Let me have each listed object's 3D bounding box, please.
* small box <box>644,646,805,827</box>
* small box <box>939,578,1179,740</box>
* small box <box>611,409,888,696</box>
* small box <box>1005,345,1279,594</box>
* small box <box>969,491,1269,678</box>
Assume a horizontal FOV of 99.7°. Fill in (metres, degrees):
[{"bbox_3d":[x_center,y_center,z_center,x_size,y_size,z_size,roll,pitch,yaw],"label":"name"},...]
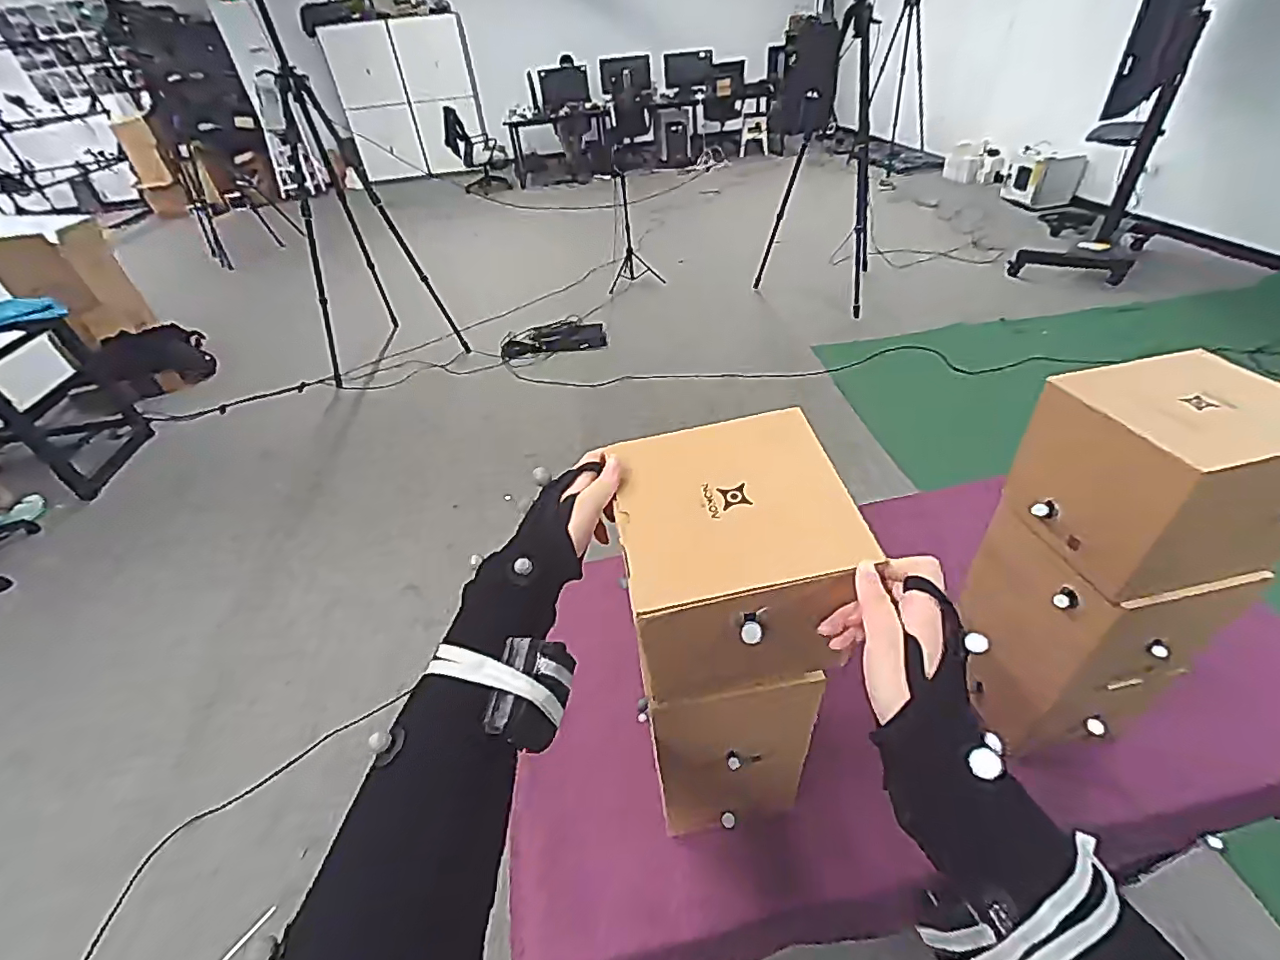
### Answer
[{"bbox_3d":[0.101,0.324,0.717,0.168,0.176,0.179,-9,41,-3],"label":"small box"},{"bbox_3d":[0.558,0.239,0.753,0.168,0.176,0.179,-10,41,-4],"label":"small box"},{"bbox_3d":[0.081,0.067,0.473,0.179,0.176,0.168,-12,49,-1],"label":"small box"},{"bbox_3d":[0.520,-0.011,0.543,0.179,0.176,0.168,-11,39,-4],"label":"small box"},{"bbox_3d":[0.540,0.115,0.645,0.168,0.176,0.179,-10,40,-5],"label":"small box"}]
